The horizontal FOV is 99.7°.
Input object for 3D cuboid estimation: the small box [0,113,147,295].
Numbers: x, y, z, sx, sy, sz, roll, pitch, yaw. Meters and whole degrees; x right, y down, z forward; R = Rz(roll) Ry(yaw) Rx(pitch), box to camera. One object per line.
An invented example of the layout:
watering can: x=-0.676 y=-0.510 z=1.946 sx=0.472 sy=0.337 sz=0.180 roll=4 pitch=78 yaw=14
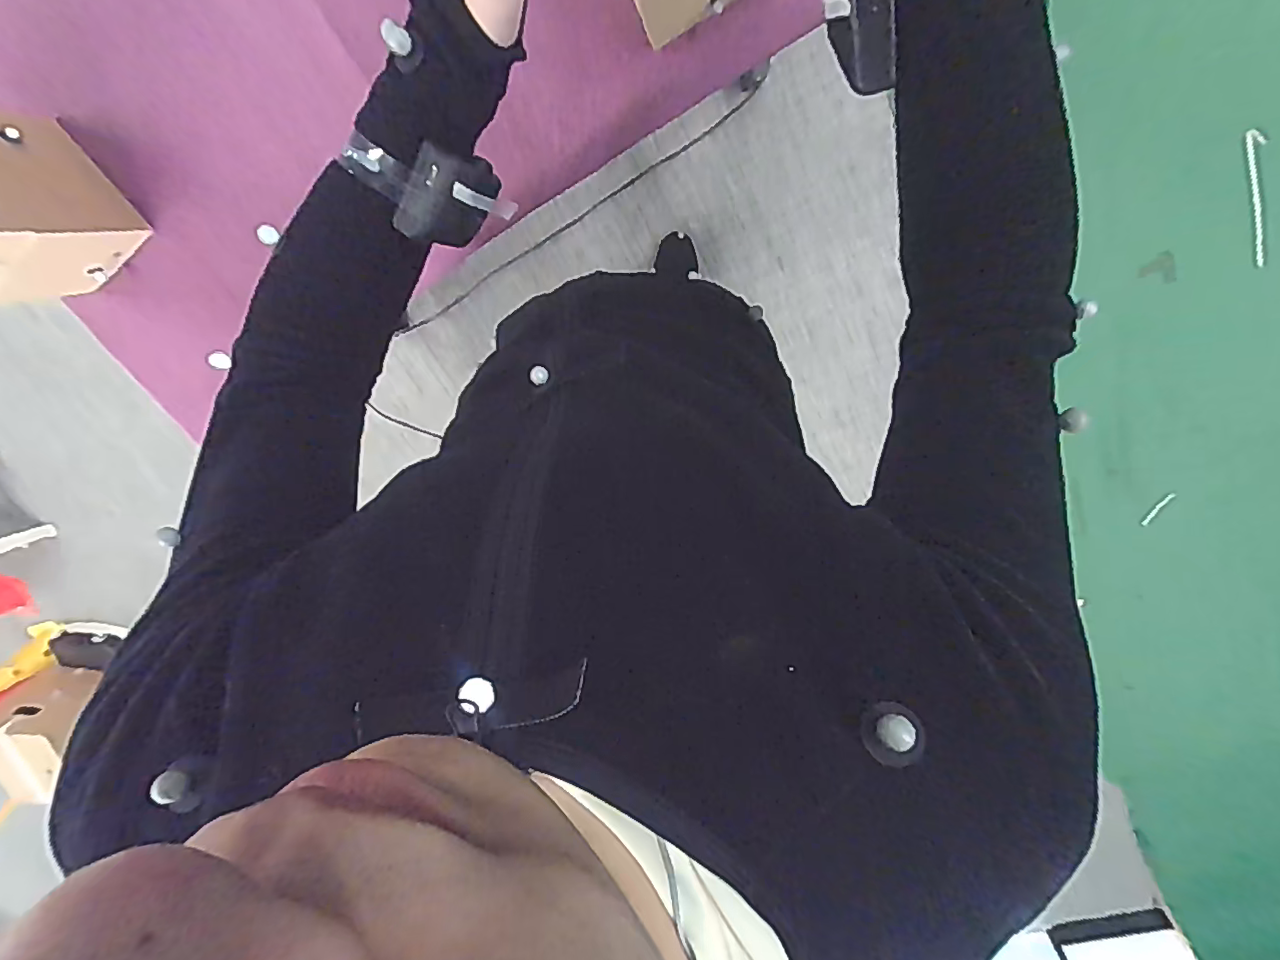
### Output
small box: x=-0.846 y=-0.367 z=0.727 sx=0.168 sy=0.176 sz=0.179 roll=-28 pitch=111 yaw=18

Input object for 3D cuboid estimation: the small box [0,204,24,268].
small box: x=-0.861 y=-0.297 z=0.580 sx=0.168 sy=0.176 sz=0.179 roll=-28 pitch=110 yaw=19
